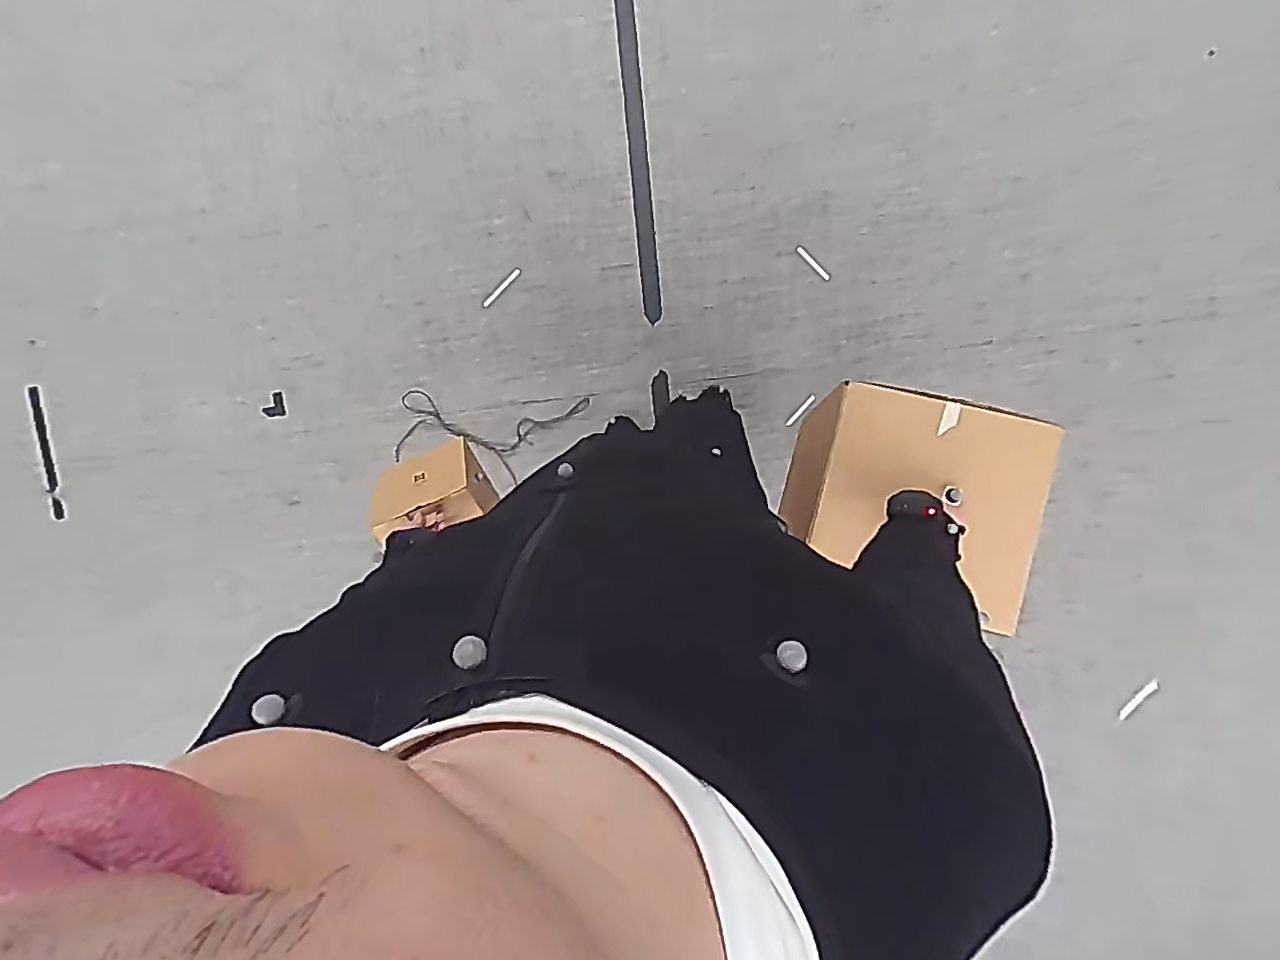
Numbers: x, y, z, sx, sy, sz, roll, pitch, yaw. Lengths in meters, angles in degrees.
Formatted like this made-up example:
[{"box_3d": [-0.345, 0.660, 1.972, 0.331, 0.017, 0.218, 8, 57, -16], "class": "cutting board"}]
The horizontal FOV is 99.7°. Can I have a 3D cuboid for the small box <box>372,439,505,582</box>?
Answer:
[{"box_3d": [-0.356, 0.061, 0.978, 0.168, 0.179, 0.176, -23, 128, -5], "class": "small box"}]
